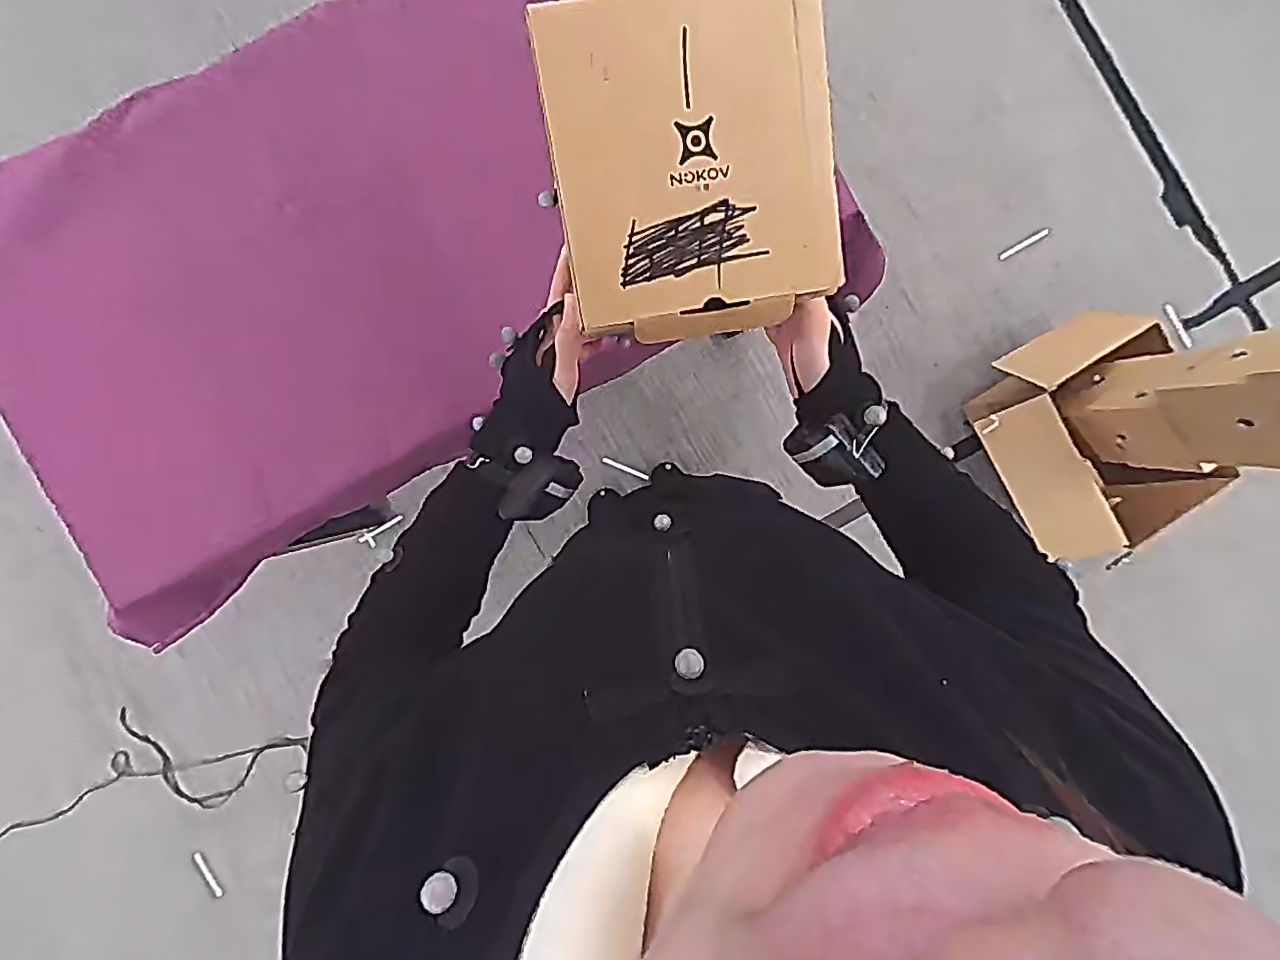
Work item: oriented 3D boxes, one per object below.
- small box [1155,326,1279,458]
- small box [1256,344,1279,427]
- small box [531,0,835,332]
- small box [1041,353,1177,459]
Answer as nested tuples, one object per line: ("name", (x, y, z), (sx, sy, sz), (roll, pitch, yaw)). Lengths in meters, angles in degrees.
("small box", (1.058, -0.148, 0.923), (0.168, 0.176, 0.179), (-37, 95, 5))
("small box", (1.047, -0.146, 0.759), (0.179, 0.176, 0.168), (-36, 95, 3))
("small box", (0.025, -0.206, 0.395), (0.168, 0.176, 0.179), (-9, 103, -3))
("small box", (1.092, -0.166, 1.251), (0.179, 0.176, 0.168), (39, 94, -4))
